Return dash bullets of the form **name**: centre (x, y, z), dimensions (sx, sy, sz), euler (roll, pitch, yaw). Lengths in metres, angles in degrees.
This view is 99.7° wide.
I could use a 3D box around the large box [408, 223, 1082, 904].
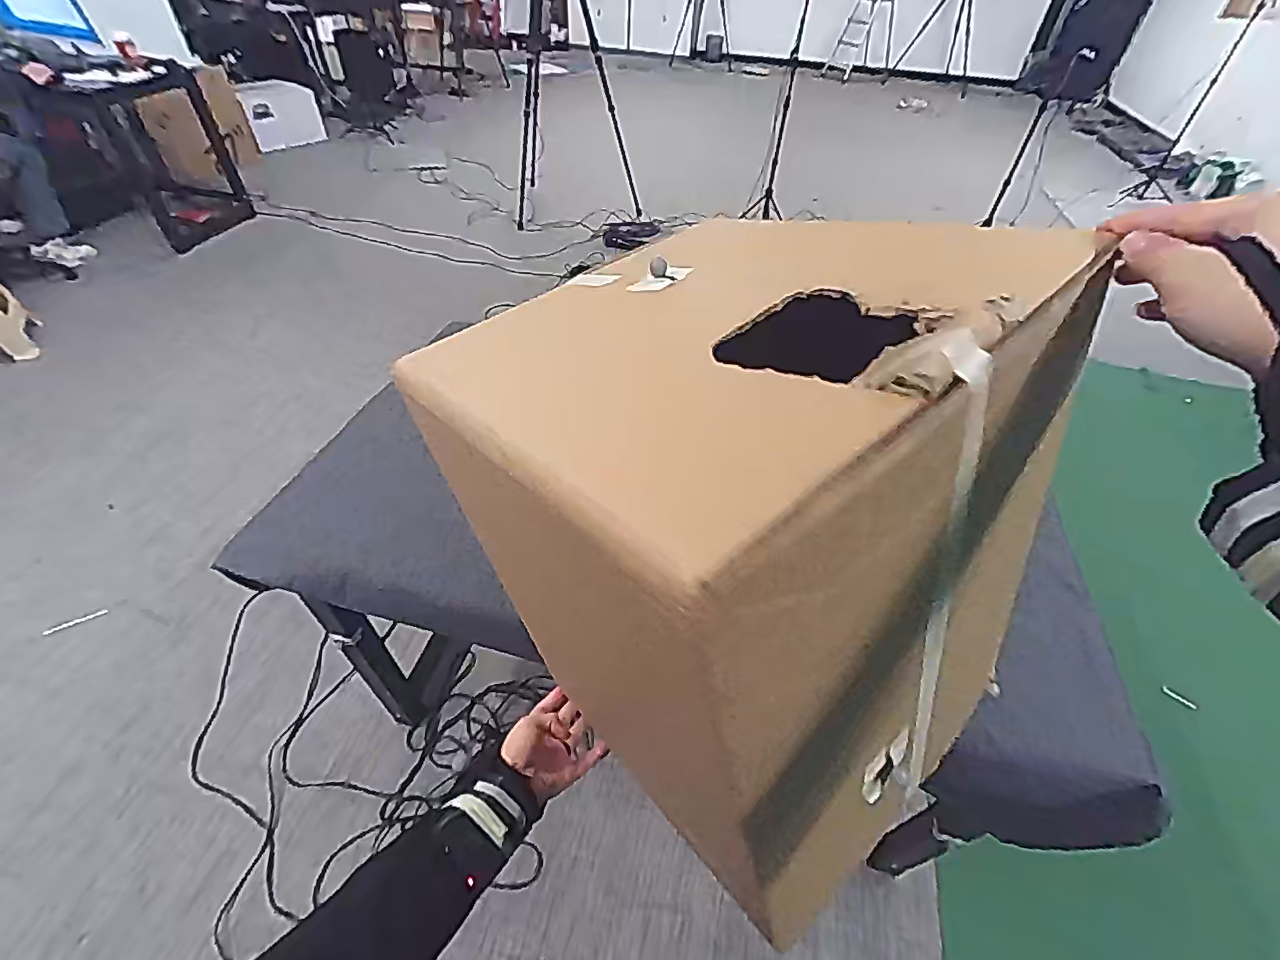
- **large box**: centre (0.081, 0.046, 0.459), dimensions (0.320, 0.408, 0.320), euler (-35, 42, -24)
